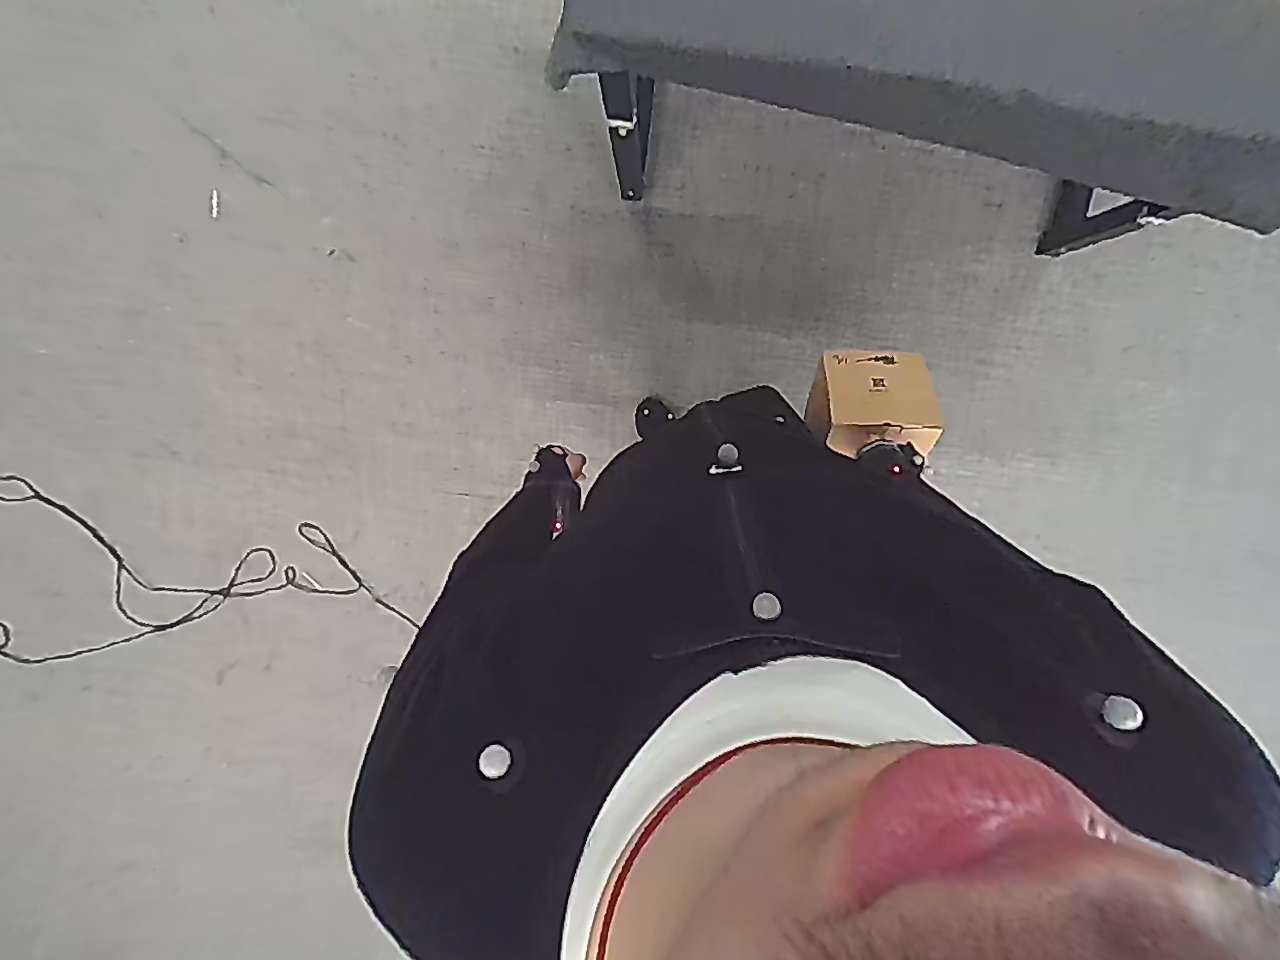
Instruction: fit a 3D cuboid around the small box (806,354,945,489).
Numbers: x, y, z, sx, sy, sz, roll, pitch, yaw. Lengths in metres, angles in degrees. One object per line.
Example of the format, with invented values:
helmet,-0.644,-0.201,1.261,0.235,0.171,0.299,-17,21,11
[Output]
small box,0.393,-0.098,0.937,0.168,0.179,0.176,2,144,5
